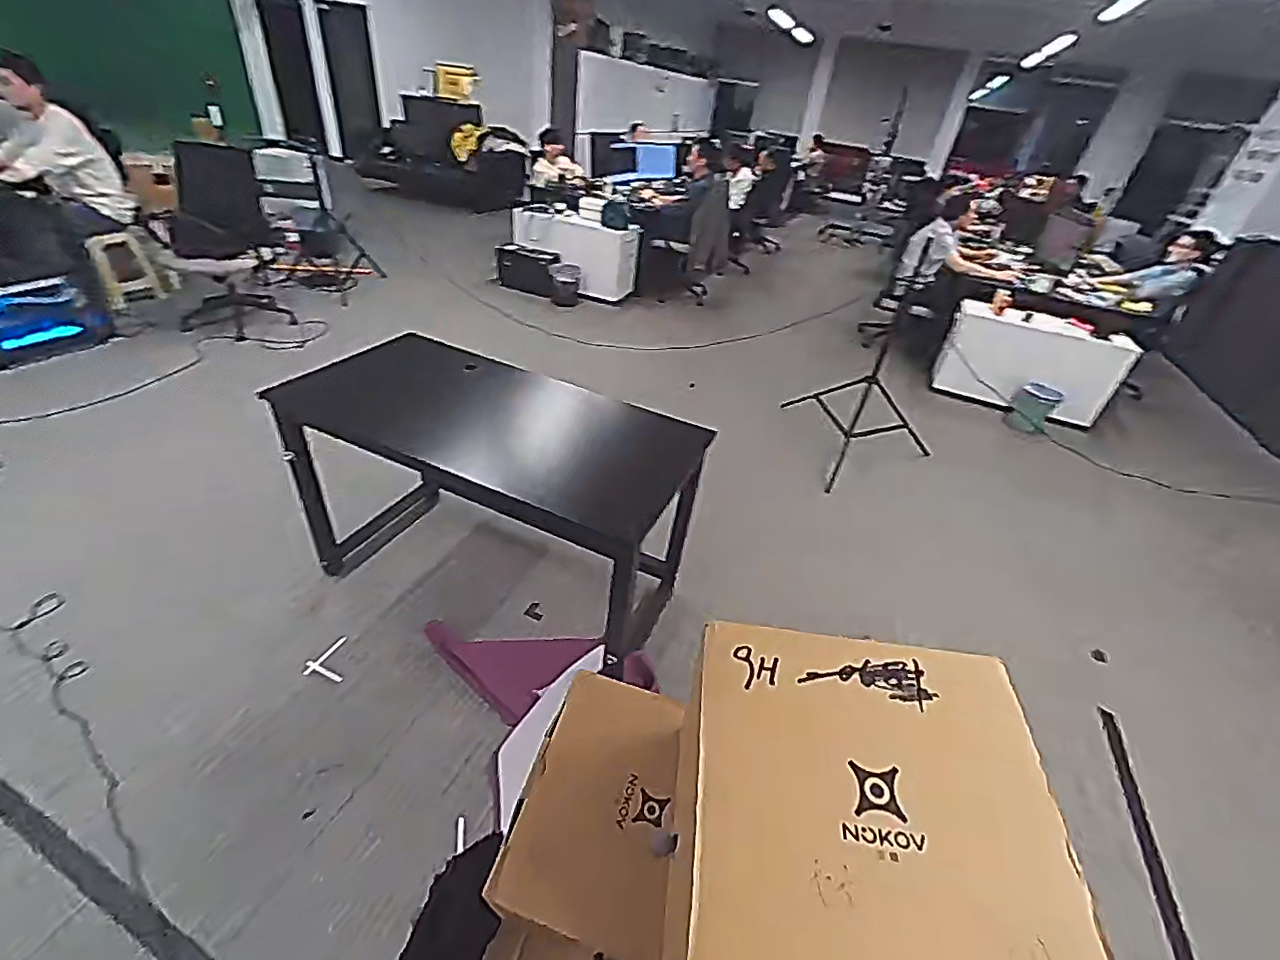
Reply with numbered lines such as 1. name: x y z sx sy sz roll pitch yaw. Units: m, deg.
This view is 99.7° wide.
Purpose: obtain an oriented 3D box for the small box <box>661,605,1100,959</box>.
1. small box: 0.103 0.199 0.310 0.168 0.176 0.179 6 45 3

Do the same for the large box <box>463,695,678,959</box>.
1. large box: 0.055 0.495 0.586 0.408 0.320 0.320 14 46 10
